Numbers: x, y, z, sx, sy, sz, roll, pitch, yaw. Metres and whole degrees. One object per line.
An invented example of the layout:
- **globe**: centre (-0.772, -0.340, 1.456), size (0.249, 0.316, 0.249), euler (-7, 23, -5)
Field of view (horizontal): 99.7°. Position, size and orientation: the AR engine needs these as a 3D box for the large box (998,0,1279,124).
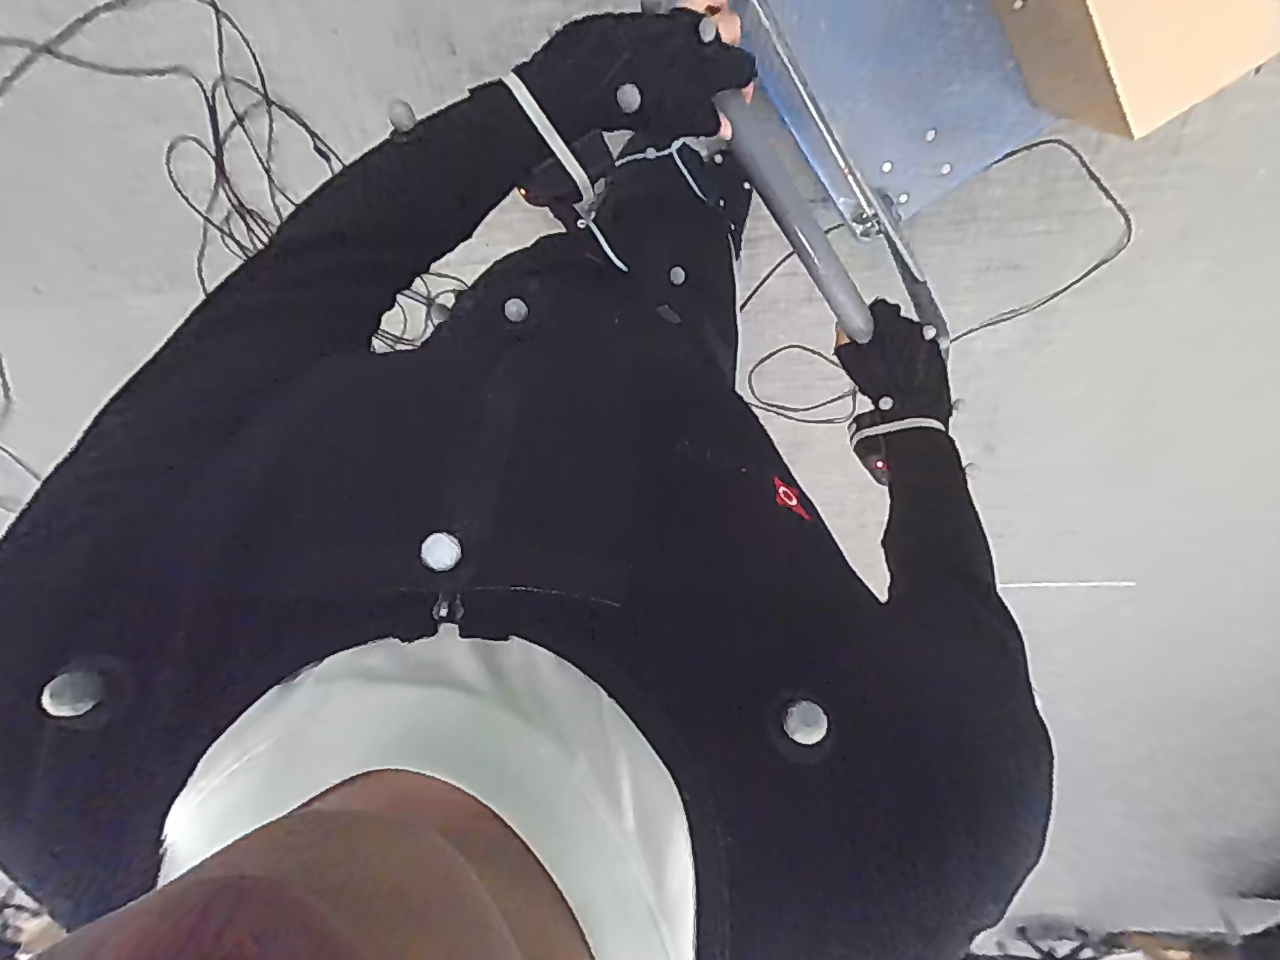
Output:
- **large box**: centre (0.642, -0.748, 0.665), size (0.320, 0.320, 0.408), euler (-32, 118, 32)
